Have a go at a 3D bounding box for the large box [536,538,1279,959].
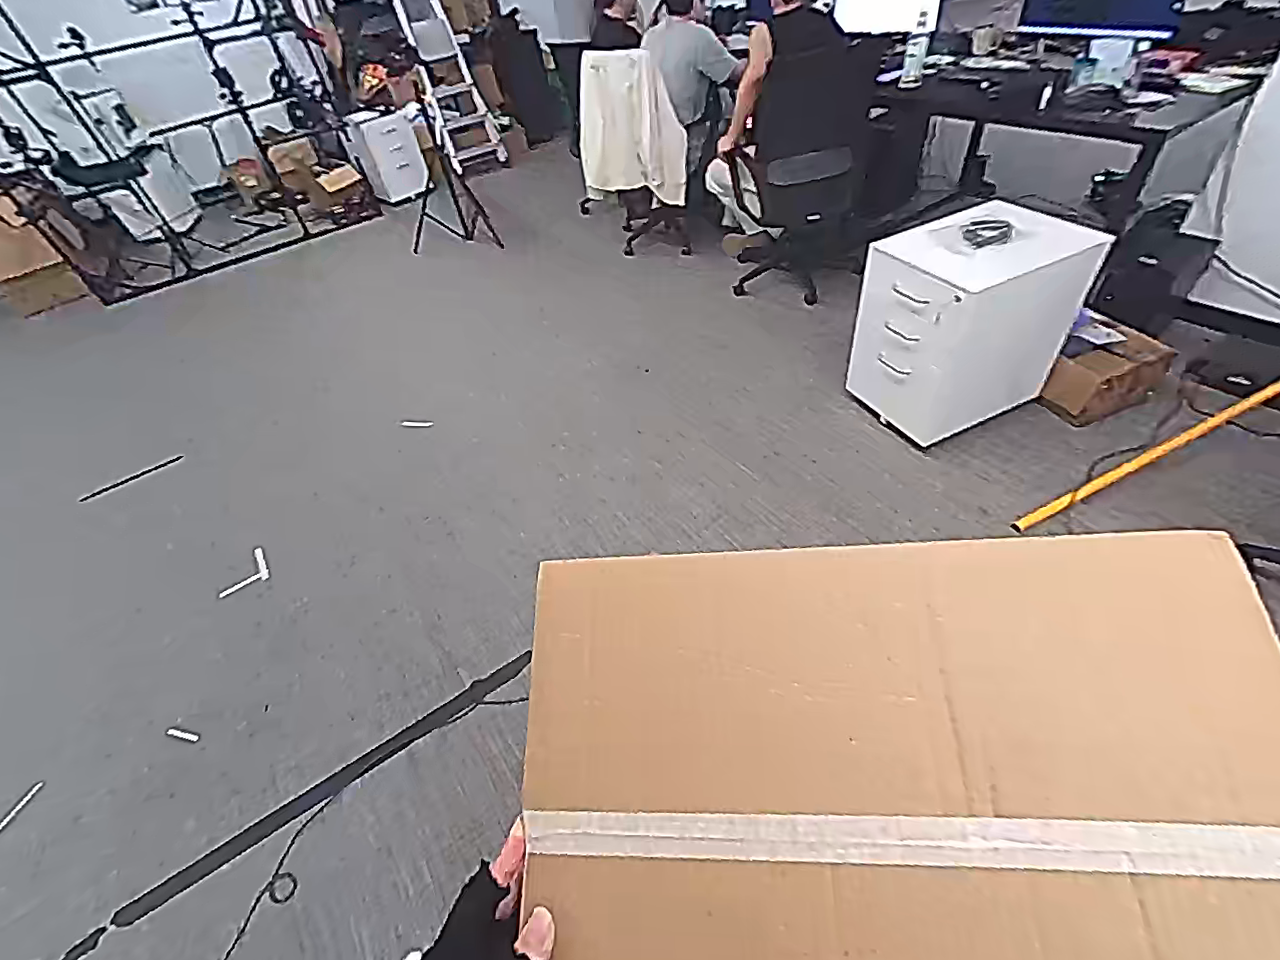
[{"bbox_3d":[0.161,0.248,0.423,0.408,0.320,0.320,-4,68,9],"label":"large box"}]
